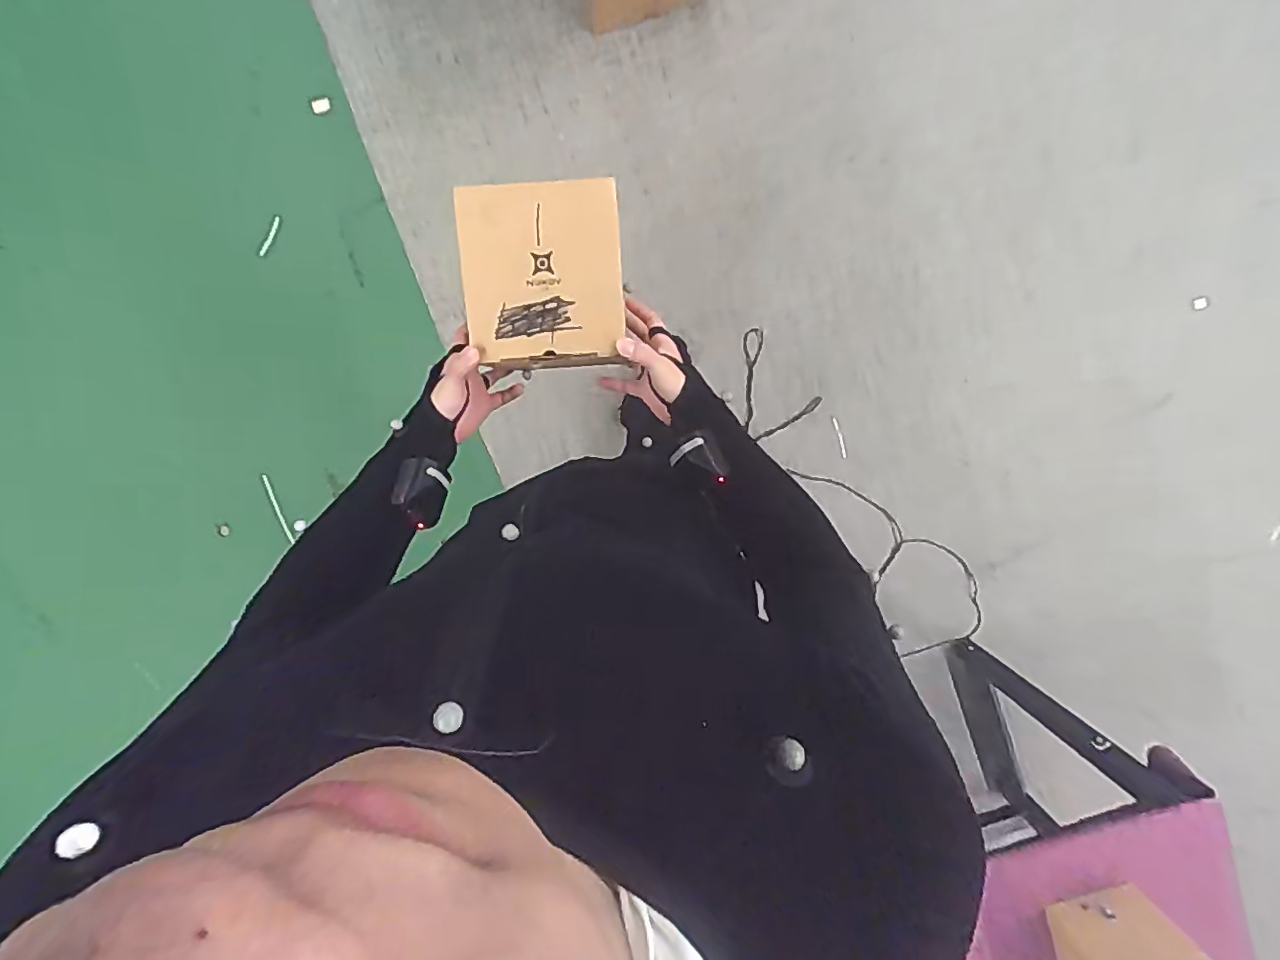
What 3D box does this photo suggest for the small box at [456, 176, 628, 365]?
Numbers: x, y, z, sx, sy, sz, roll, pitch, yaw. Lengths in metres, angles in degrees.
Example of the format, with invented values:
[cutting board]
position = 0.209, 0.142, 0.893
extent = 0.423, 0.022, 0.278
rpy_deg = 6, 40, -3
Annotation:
[small box]
position = -0.101, -0.228, 0.635
extent = 0.168, 0.176, 0.179
rpy_deg = -4, 98, 0
